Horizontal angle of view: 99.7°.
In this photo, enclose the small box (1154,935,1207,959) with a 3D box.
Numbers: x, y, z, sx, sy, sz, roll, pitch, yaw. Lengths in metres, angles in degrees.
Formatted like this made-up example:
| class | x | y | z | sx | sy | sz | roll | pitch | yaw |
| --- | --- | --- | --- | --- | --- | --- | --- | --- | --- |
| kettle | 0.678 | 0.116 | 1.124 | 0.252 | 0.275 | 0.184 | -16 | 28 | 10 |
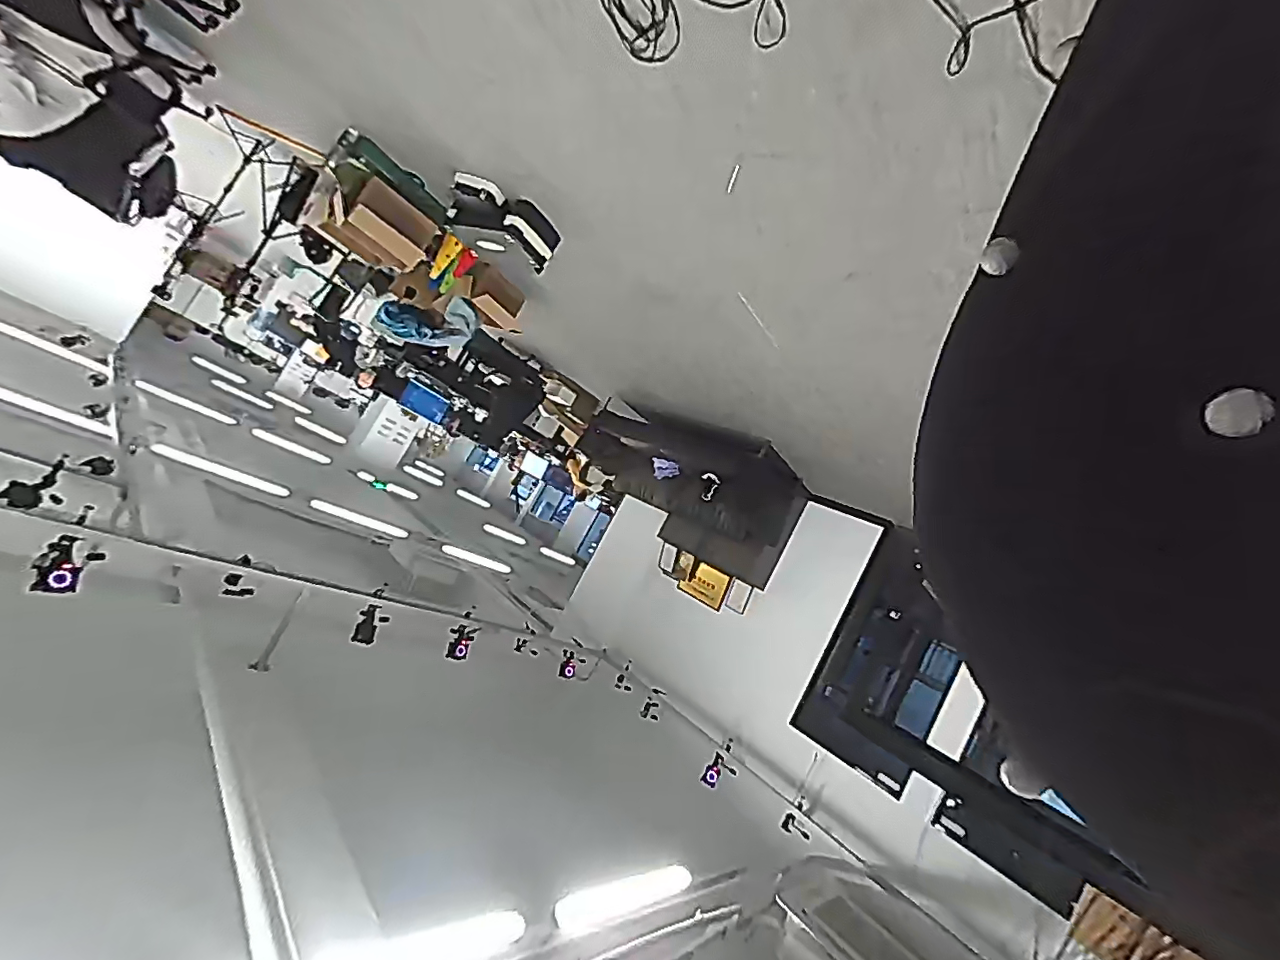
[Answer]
| class | x | y | z | sx | sy | sz | roll | pitch | yaw |
| --- | --- | --- | --- | --- | --- | --- | --- | --- | --- |
| small box | 1.454 | 1.344 | 1.415 | 0.179 | 0.176 | 0.168 | 33 | 175 | -39 |
